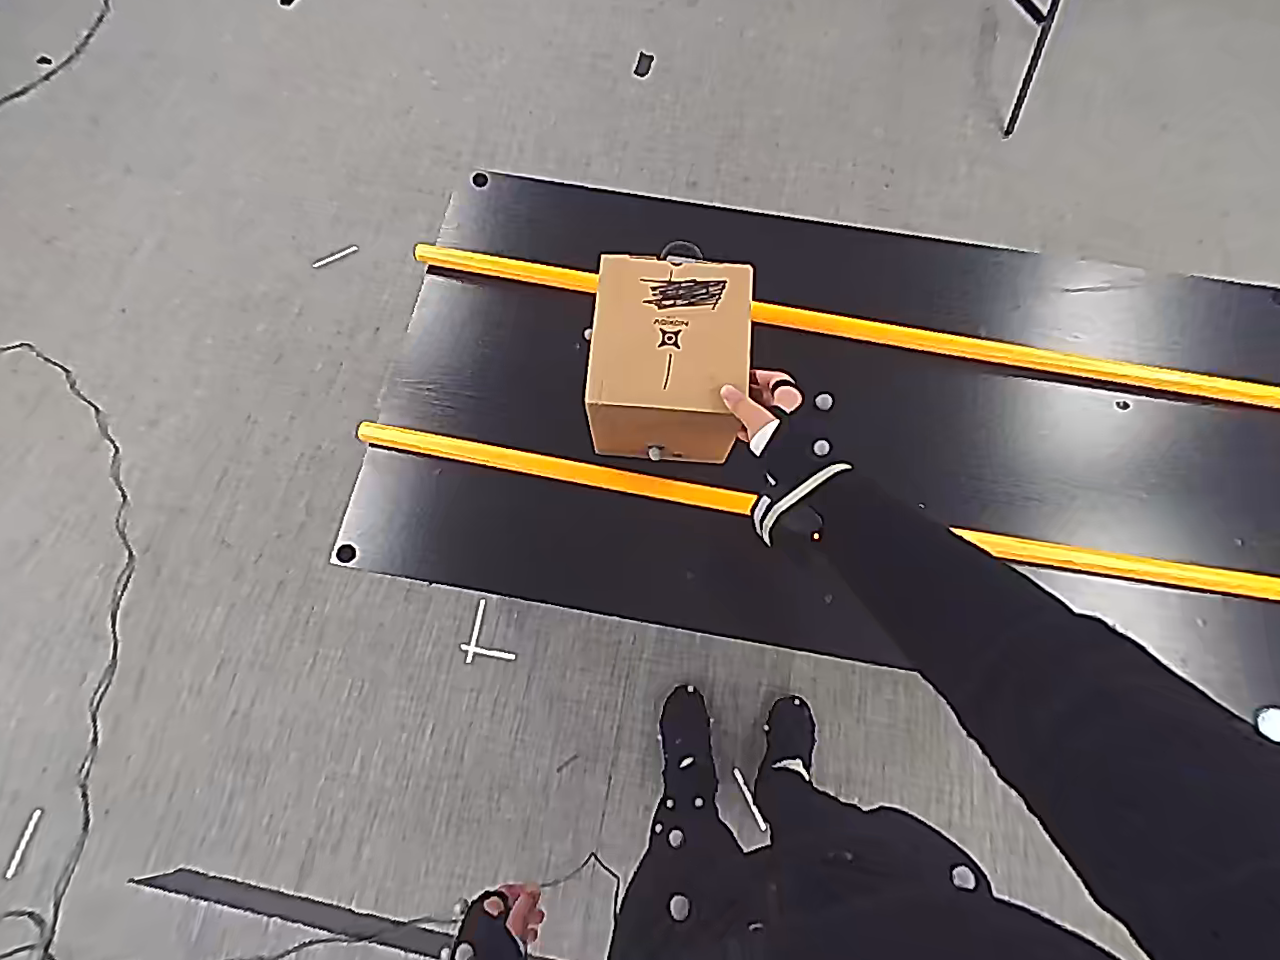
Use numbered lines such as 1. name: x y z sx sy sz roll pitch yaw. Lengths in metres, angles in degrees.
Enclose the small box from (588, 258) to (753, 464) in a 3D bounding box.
1. small box: 0.034 -0.132 0.644 0.168 0.176 0.179 5 75 1
